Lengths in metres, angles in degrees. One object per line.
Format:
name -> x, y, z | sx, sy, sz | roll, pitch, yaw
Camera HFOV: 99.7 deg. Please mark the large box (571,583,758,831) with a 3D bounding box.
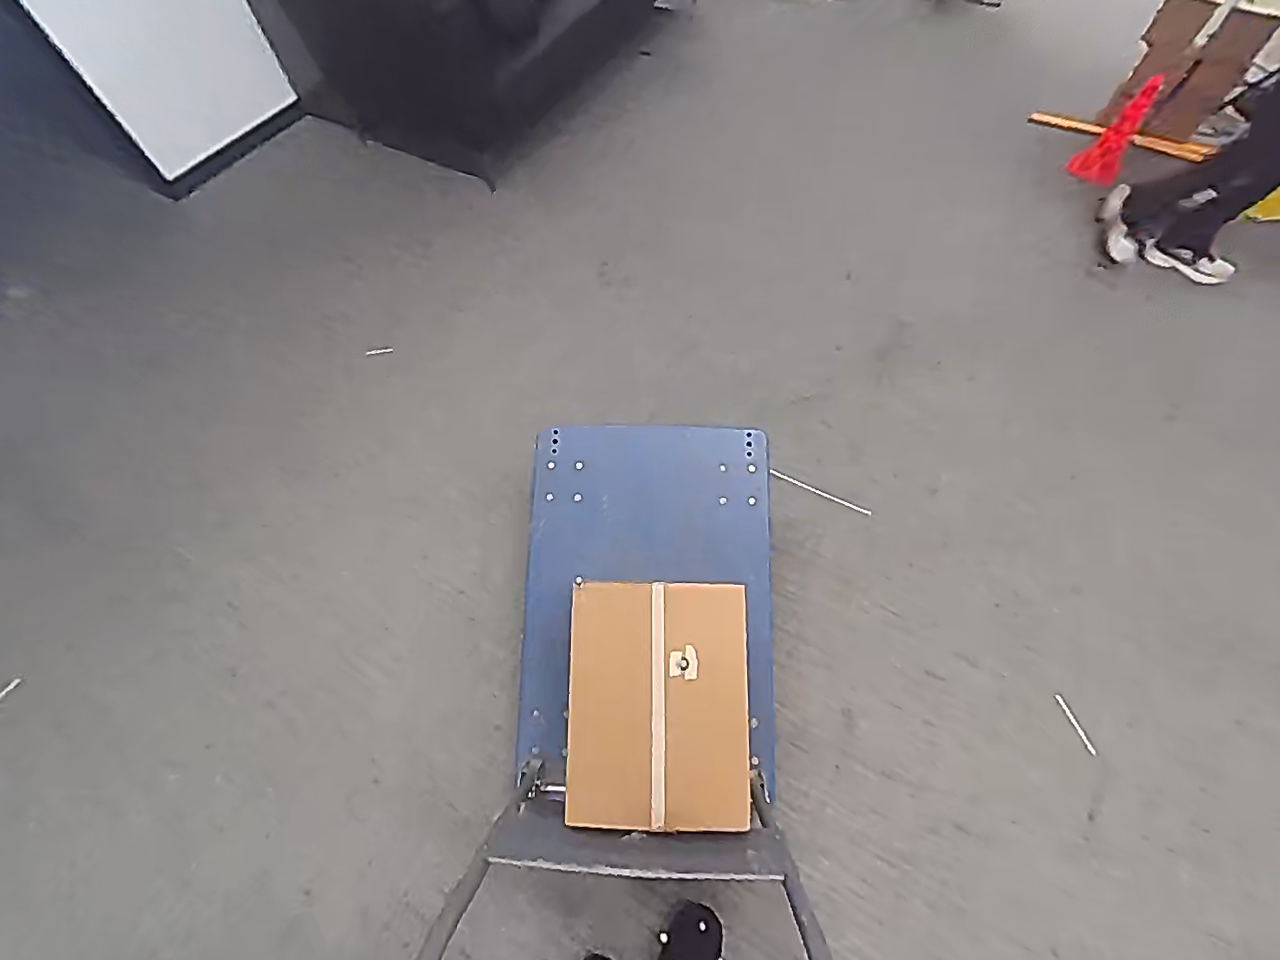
large box -> 0.047, 0.414, 1.075 | 0.320, 0.320, 0.408 | 0, 78, 3
